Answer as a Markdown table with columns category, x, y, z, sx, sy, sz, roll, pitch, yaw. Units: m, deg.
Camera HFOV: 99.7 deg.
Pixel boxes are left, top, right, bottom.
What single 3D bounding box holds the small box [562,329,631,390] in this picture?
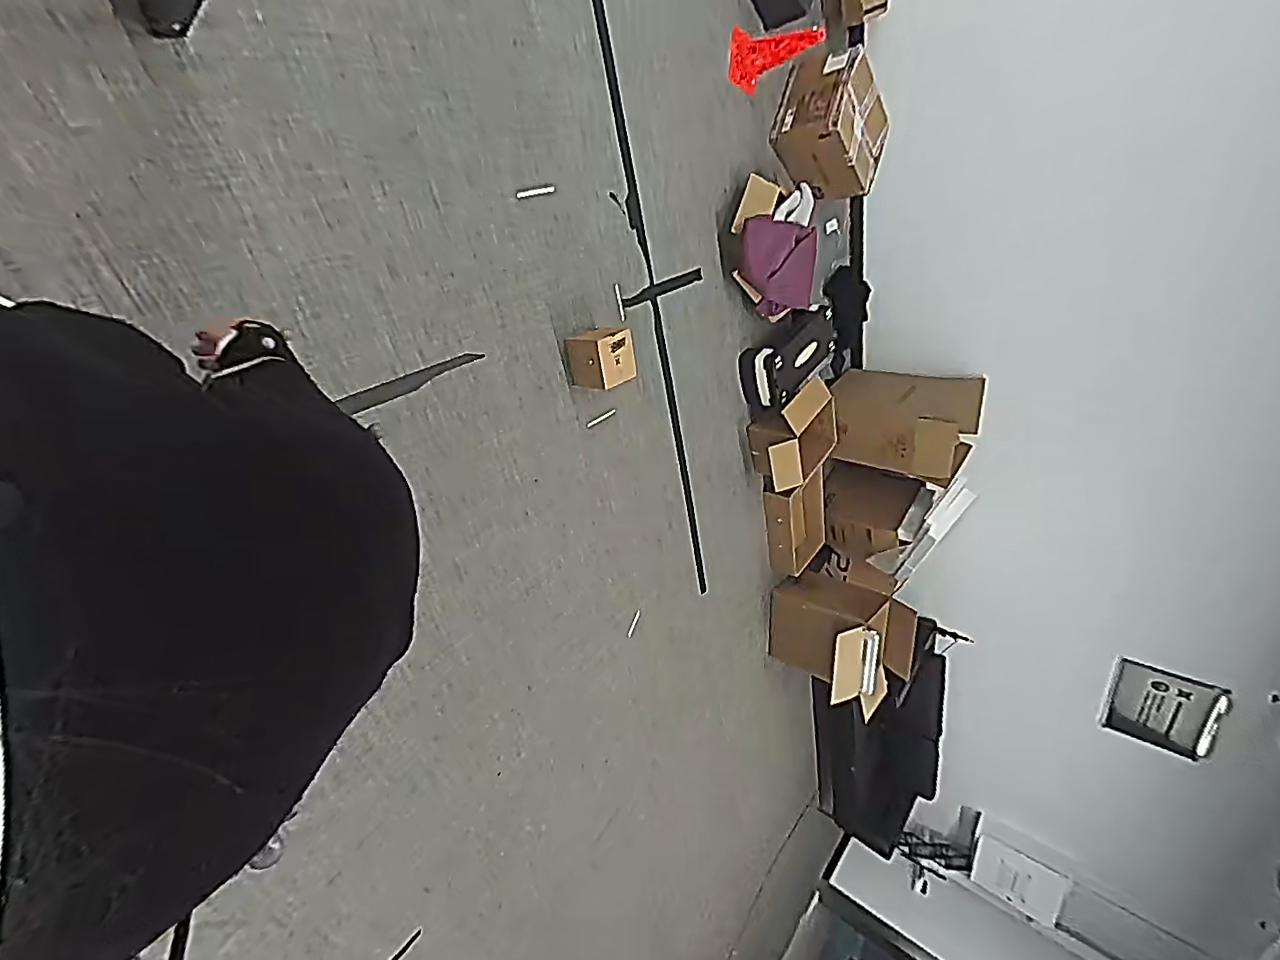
| category | x | y | z | sx | sy | sz | roll | pitch | yaw |
| --- | --- | --- | --- | --- | --- | --- | --- | --- | --- |
| small box | -0.157 | -0.435 | 1.935 | 0.168 | 0.176 | 0.179 | -33 | 125 | -38 |
